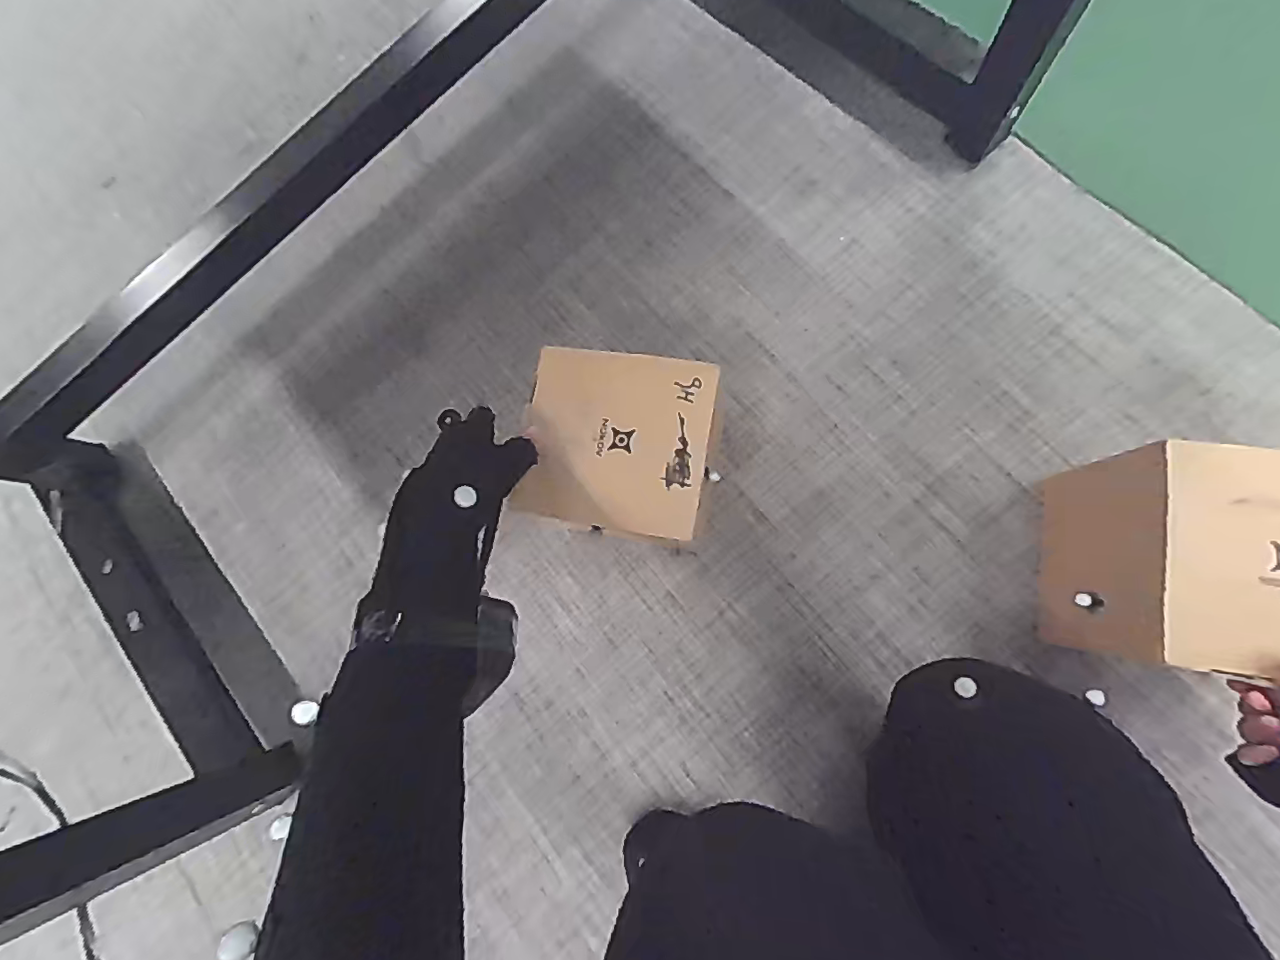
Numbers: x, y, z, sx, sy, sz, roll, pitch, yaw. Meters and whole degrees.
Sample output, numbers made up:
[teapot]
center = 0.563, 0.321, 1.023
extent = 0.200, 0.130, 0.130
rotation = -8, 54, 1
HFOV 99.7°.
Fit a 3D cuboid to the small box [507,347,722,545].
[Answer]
[small box]
center = -0.013, -0.026, 0.576
extent = 0.179, 0.176, 0.168
rotation = 8, 82, 12
